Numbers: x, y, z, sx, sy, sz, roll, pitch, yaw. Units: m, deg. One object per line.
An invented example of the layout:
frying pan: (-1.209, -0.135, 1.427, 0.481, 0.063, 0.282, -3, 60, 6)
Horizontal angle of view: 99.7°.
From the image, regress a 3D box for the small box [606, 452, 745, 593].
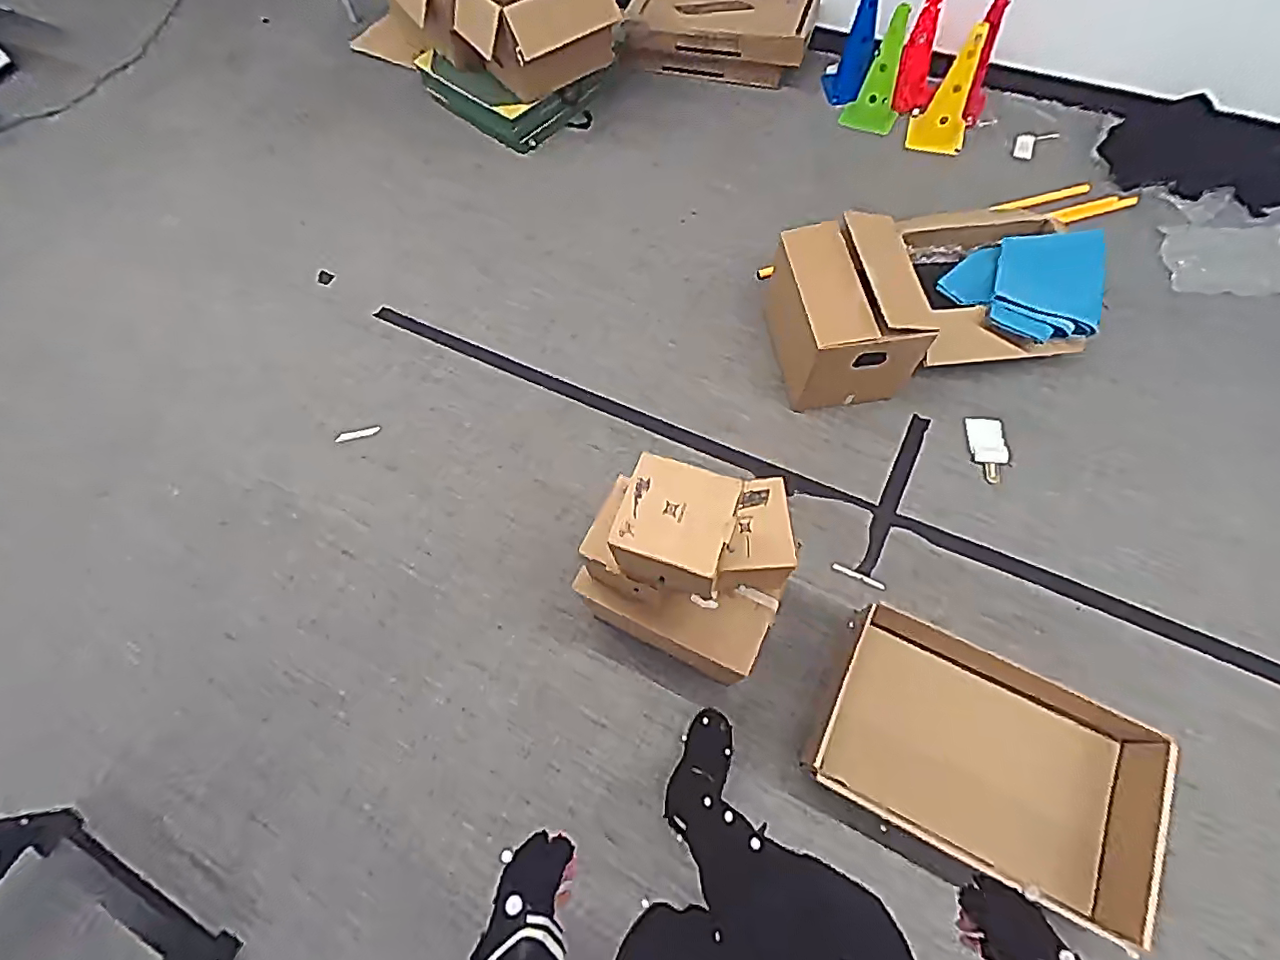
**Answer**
small box: (0.063, 0.080, 0.908, 0.179, 0.176, 0.168, 18, 70, 12)

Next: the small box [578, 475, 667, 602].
small box: (-0.002, 0.123, 1.074, 0.168, 0.176, 0.179, 23, 69, 11)

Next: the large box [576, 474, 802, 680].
large box: (0.110, 0.237, 1.281, 0.408, 0.320, 0.320, 23, 71, 12)
